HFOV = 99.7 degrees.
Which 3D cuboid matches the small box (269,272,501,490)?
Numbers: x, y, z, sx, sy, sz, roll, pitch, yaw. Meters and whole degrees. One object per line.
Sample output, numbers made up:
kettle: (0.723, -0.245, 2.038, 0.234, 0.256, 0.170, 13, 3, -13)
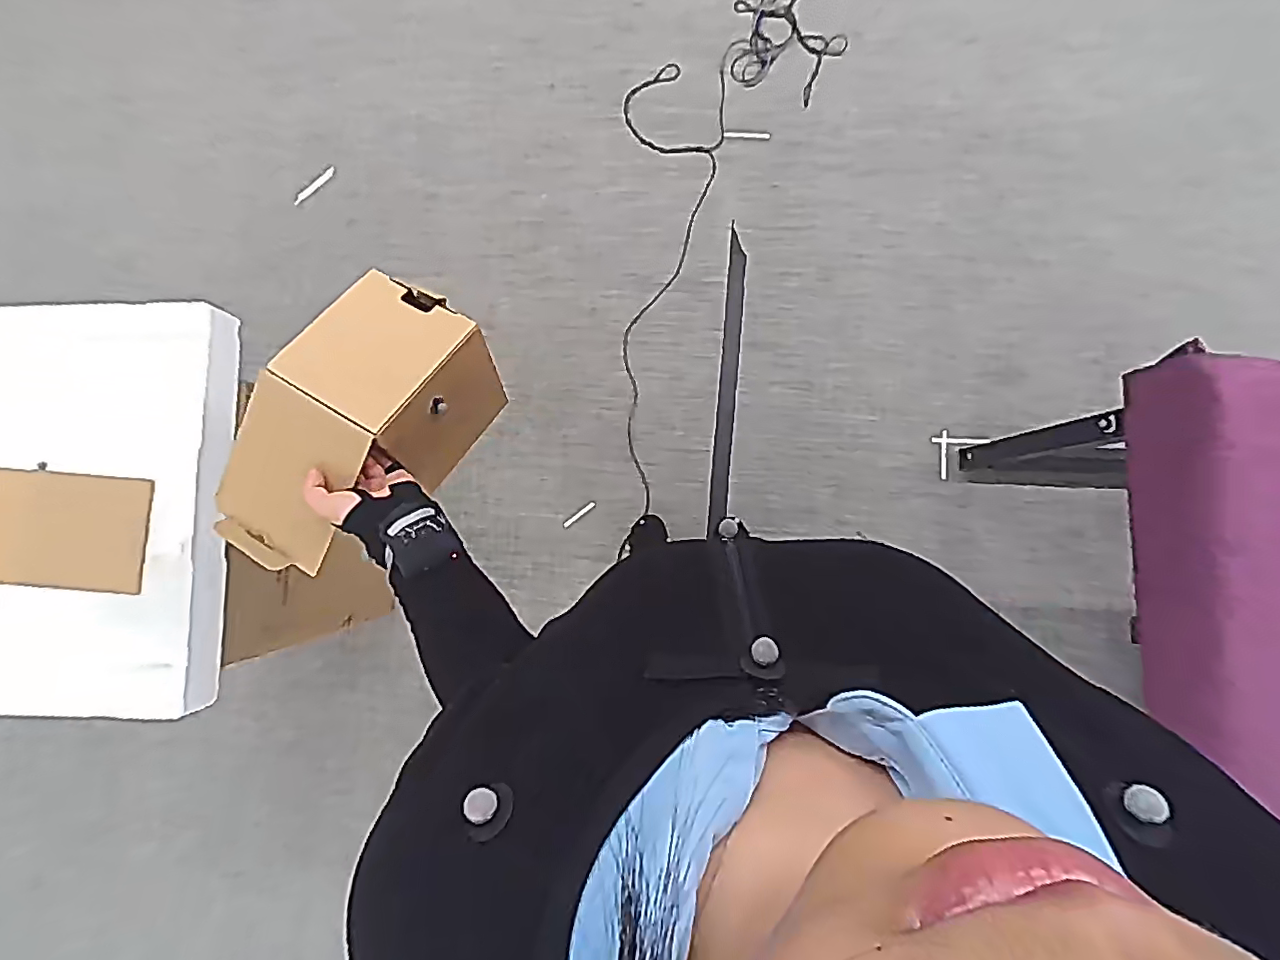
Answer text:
small box: (-0.300, -0.116, 0.682, 0.168, 0.176, 0.179, 30, 68, 12)
